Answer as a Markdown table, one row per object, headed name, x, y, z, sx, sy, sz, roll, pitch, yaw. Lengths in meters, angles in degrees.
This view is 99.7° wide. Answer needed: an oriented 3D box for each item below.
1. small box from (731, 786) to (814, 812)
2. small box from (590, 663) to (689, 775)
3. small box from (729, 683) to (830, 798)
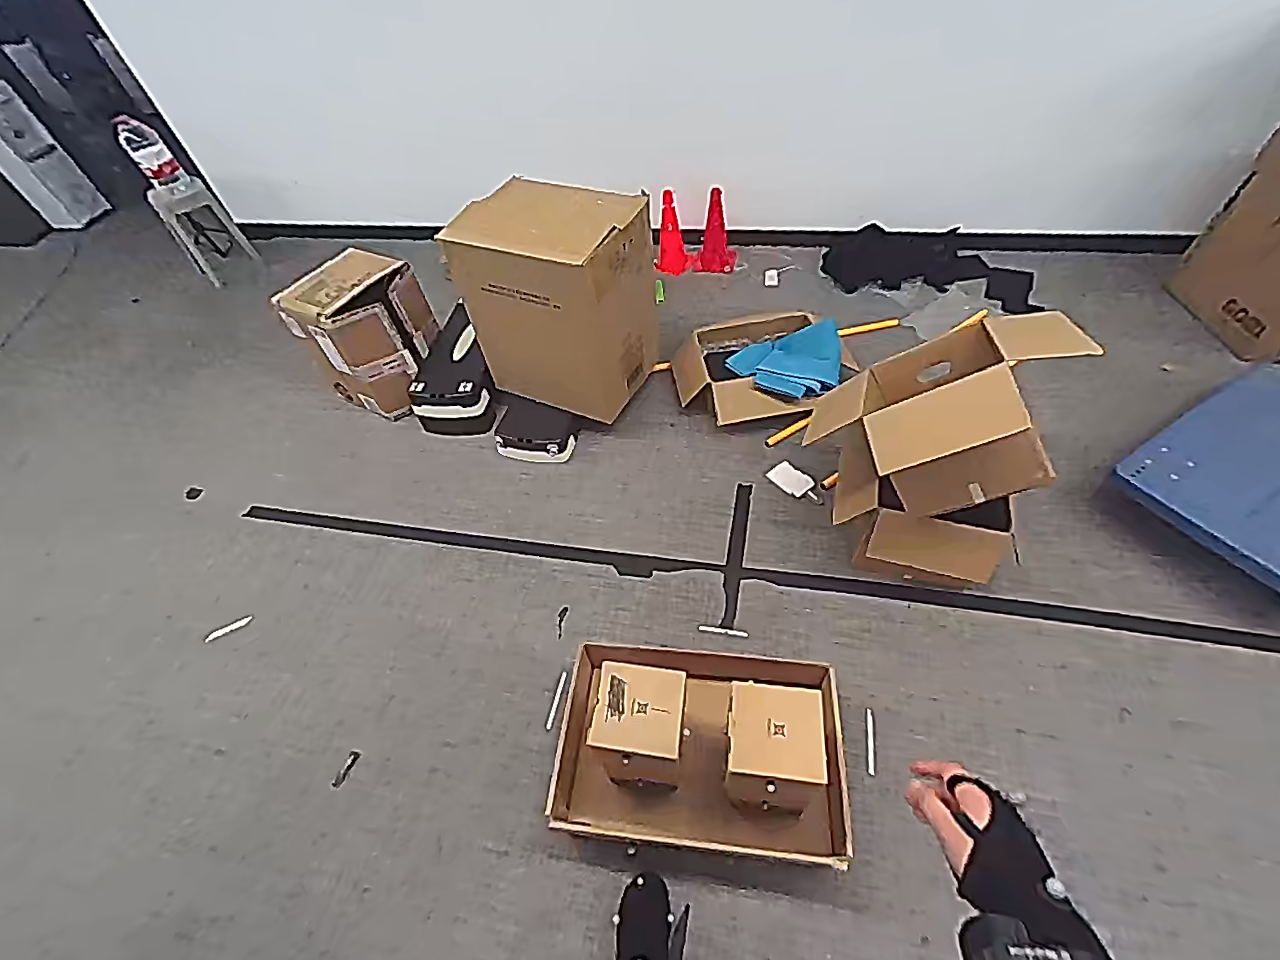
| name | x | y | z | sx | sy | sz | roll | pitch | yaw |
| --- | --- | --- | --- | --- | --- | --- | --- | --- | --- |
| small box | 0.290 | 0.621 | 1.202 | 0.168 | 0.176 | 0.179 | 3 | 51 | 9 |
| small box | 0.007 | 0.499 | 1.123 | 0.179 | 0.176 | 0.168 | 5 | 52 | 8 |
| small box | 0.270 | 0.521 | 1.076 | 0.179 | 0.176 | 0.168 | 2 | 52 | 10 |
